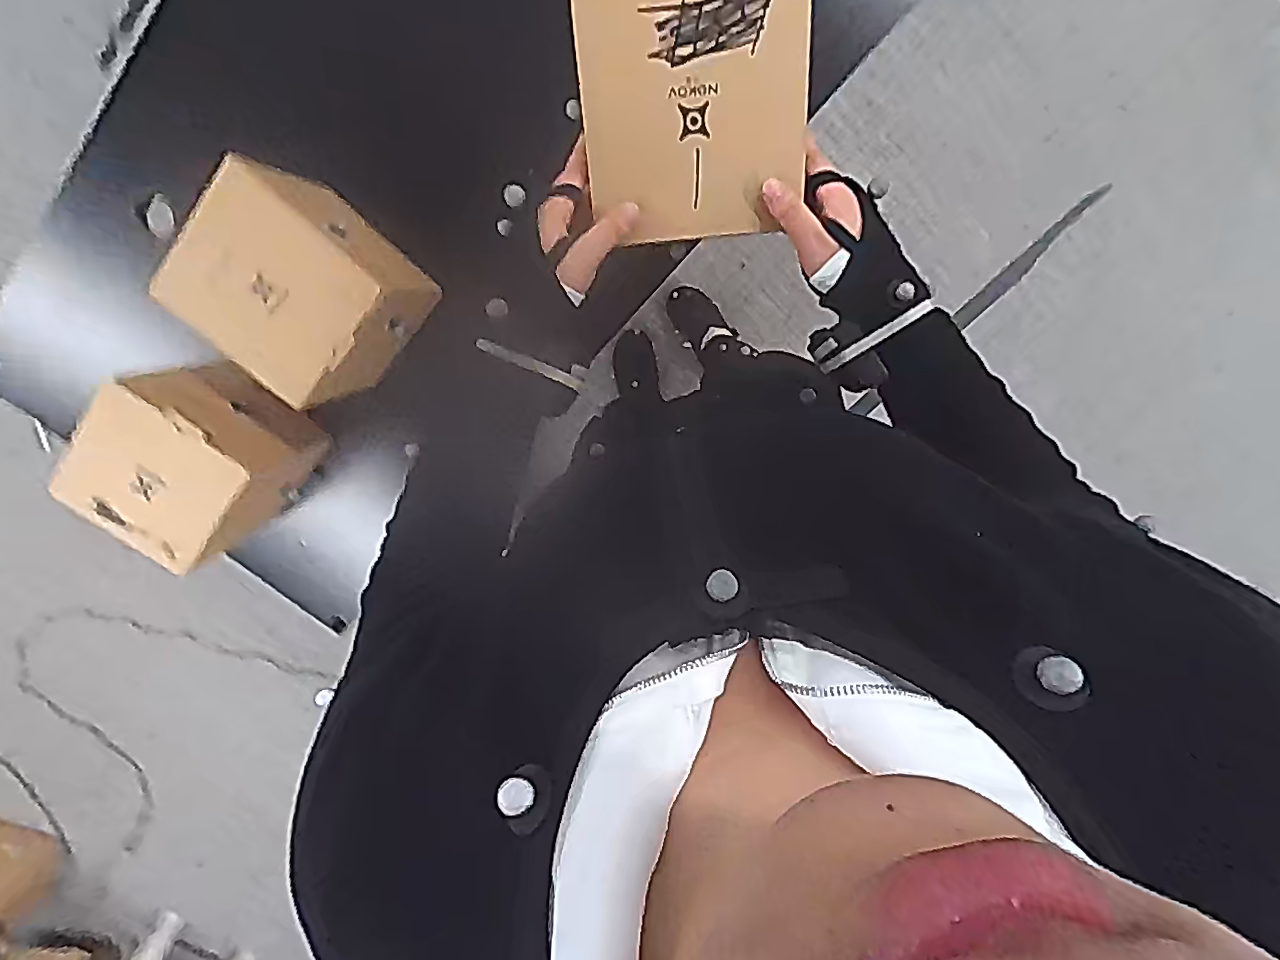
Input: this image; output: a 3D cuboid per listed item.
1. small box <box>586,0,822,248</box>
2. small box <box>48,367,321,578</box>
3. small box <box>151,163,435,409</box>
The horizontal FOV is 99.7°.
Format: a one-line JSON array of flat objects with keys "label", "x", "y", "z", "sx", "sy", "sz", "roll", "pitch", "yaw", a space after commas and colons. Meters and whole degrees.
[{"label": "small box", "x": 0.043, "y": -0.299, "z": 0.466, "sx": 0.168, "sy": 0.176, "sz": 0.179, "roll": -4, "pitch": 114, "yaw": -1}, {"label": "small box", "x": -0.539, "y": -0.021, "z": 0.671, "sx": 0.168, "sy": 0.176, "sz": 0.179, "roll": 40, "pitch": 104, "yaw": -12}, {"label": "small box", "x": -0.367, "y": -0.209, "z": 0.610, "sx": 0.179, "sy": 0.176, "sz": 0.168, "roll": 41, "pitch": 103, "yaw": -11}]
